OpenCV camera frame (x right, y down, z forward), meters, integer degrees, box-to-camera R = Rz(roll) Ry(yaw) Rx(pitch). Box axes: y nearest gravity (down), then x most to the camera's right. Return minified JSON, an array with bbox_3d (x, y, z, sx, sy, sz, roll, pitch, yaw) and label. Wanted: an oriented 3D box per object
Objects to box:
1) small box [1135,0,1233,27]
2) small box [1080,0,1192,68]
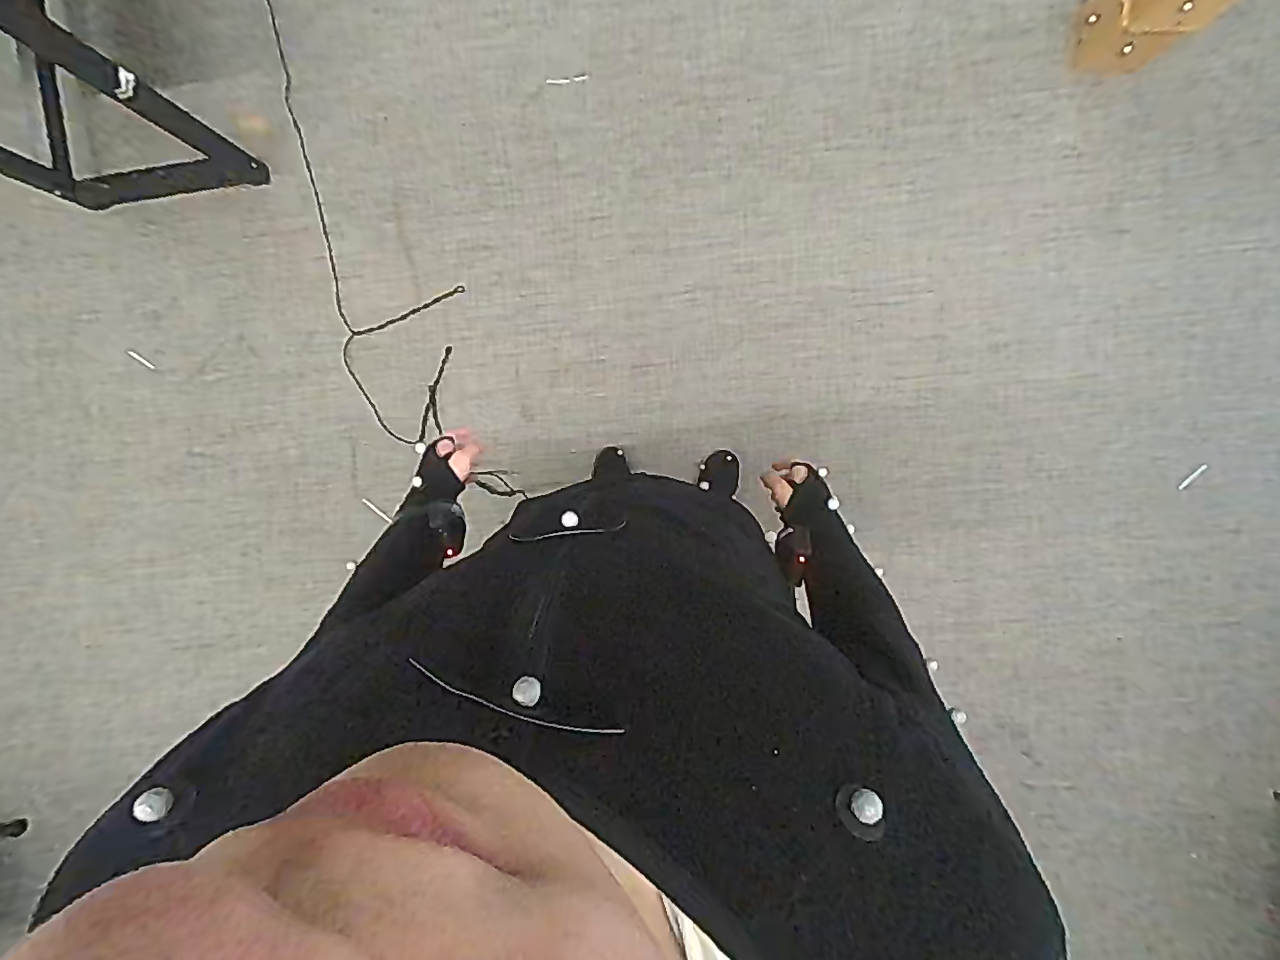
[{"bbox_3d":[1.287,-1.182,1.234,0.168,0.176,0.179,1,94,3],"label":"small box"},{"bbox_3d":[1.288,-1.203,1.396,0.179,0.176,0.168,3,95,4],"label":"small box"}]
